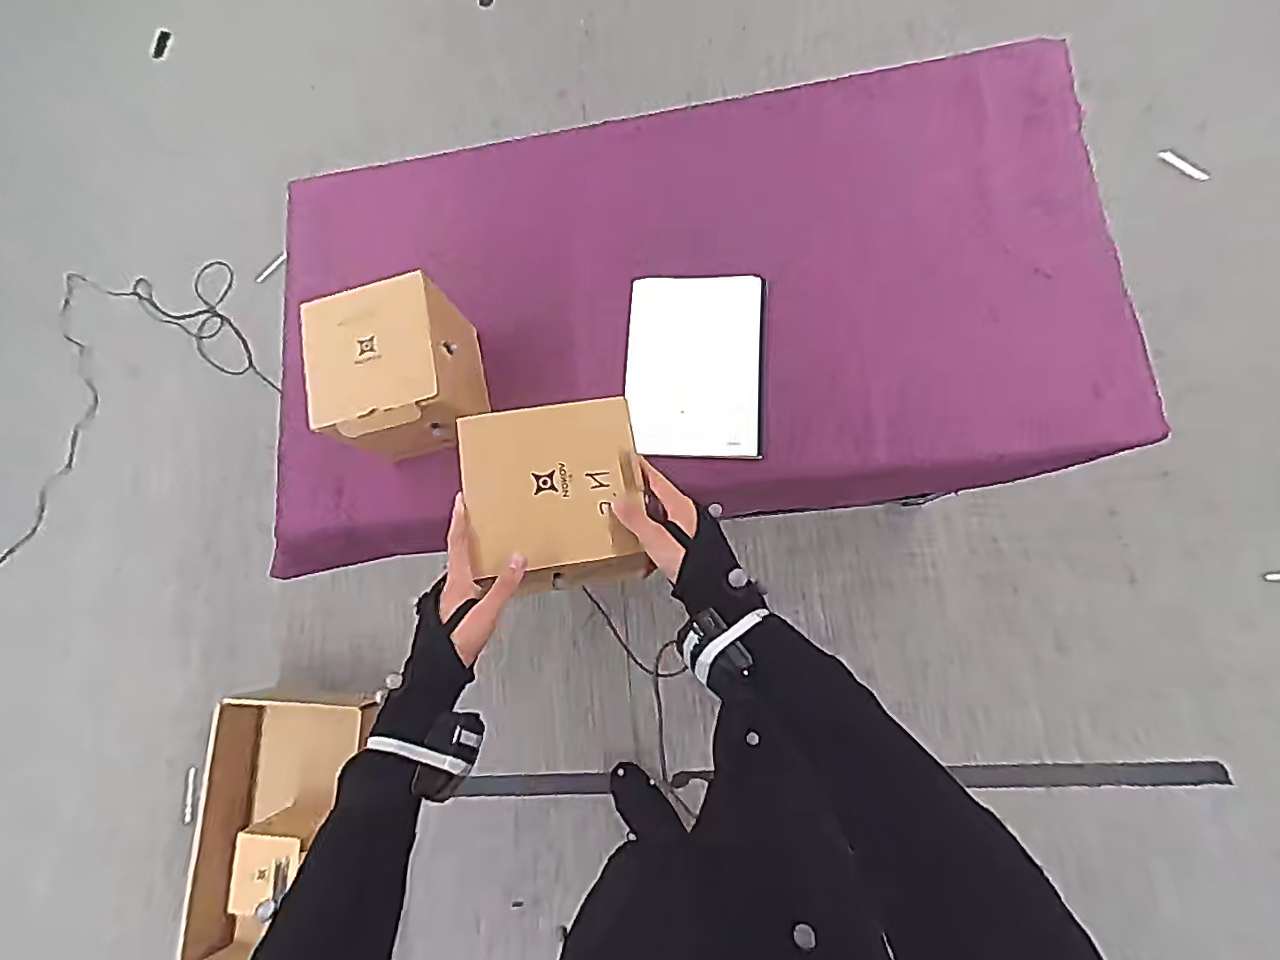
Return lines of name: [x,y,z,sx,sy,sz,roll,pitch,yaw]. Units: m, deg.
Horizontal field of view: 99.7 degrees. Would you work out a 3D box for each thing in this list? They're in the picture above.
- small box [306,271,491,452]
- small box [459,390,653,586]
small box: [-0.316,-0.145,0.737,0.168,0.176,0.179,-13,78,5]
small box: [-0.089,0.019,0.605,0.179,0.176,0.168,-8,74,-7]
